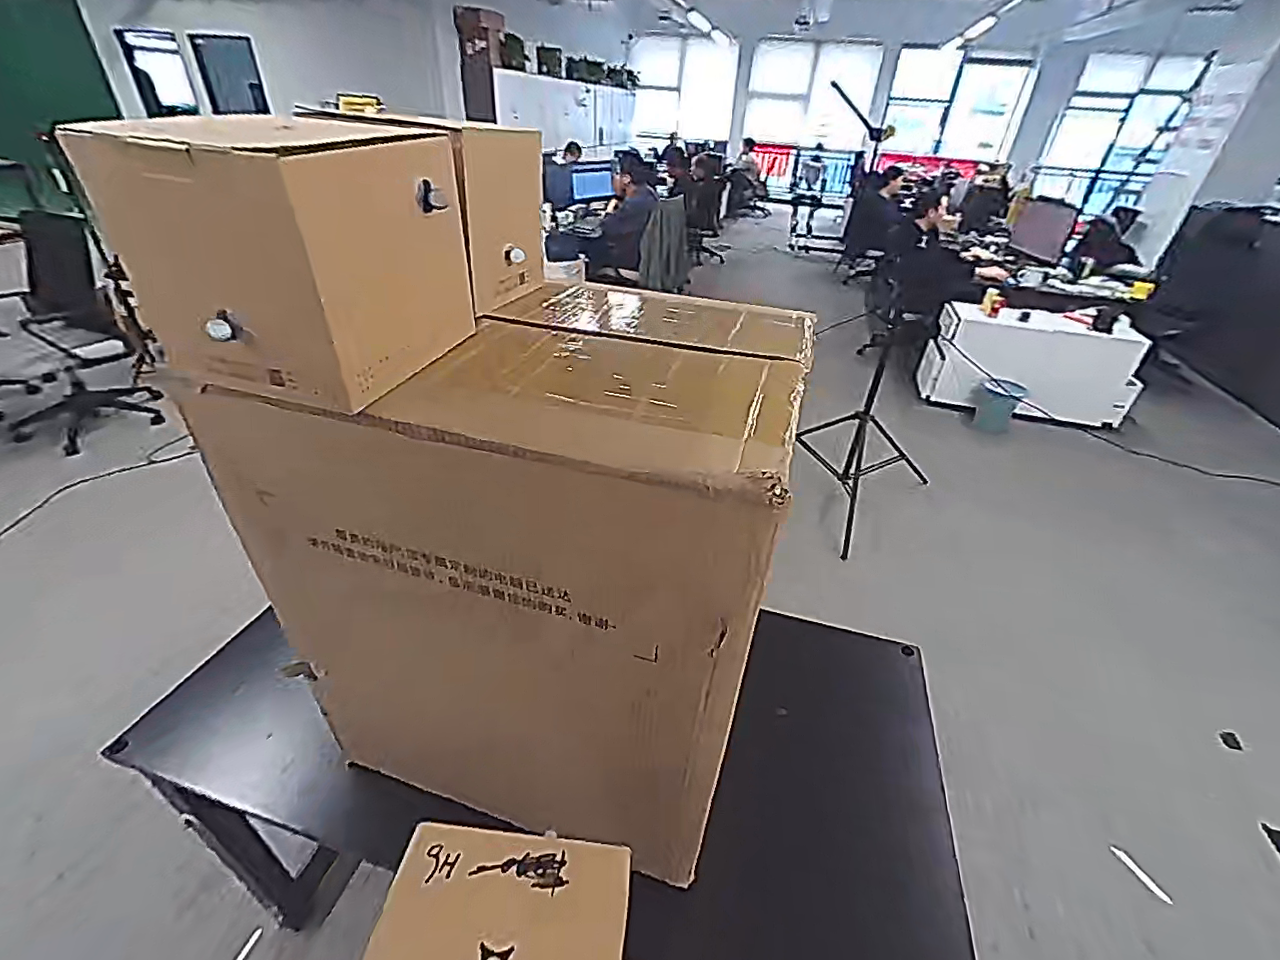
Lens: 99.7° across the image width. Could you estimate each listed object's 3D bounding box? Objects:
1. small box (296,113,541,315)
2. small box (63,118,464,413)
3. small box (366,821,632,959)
[{"bbox_3d":[-0.221,-0.287,0.588,0.179,0.176,0.168,13,34,12],"label":"small box"},{"bbox_3d":[-0.257,-0.176,0.427,0.168,0.176,0.179,12,38,12],"label":"small box"},{"bbox_3d":[-0.097,0.381,0.383,0.168,0.176,0.179,5,35,3],"label":"small box"}]
